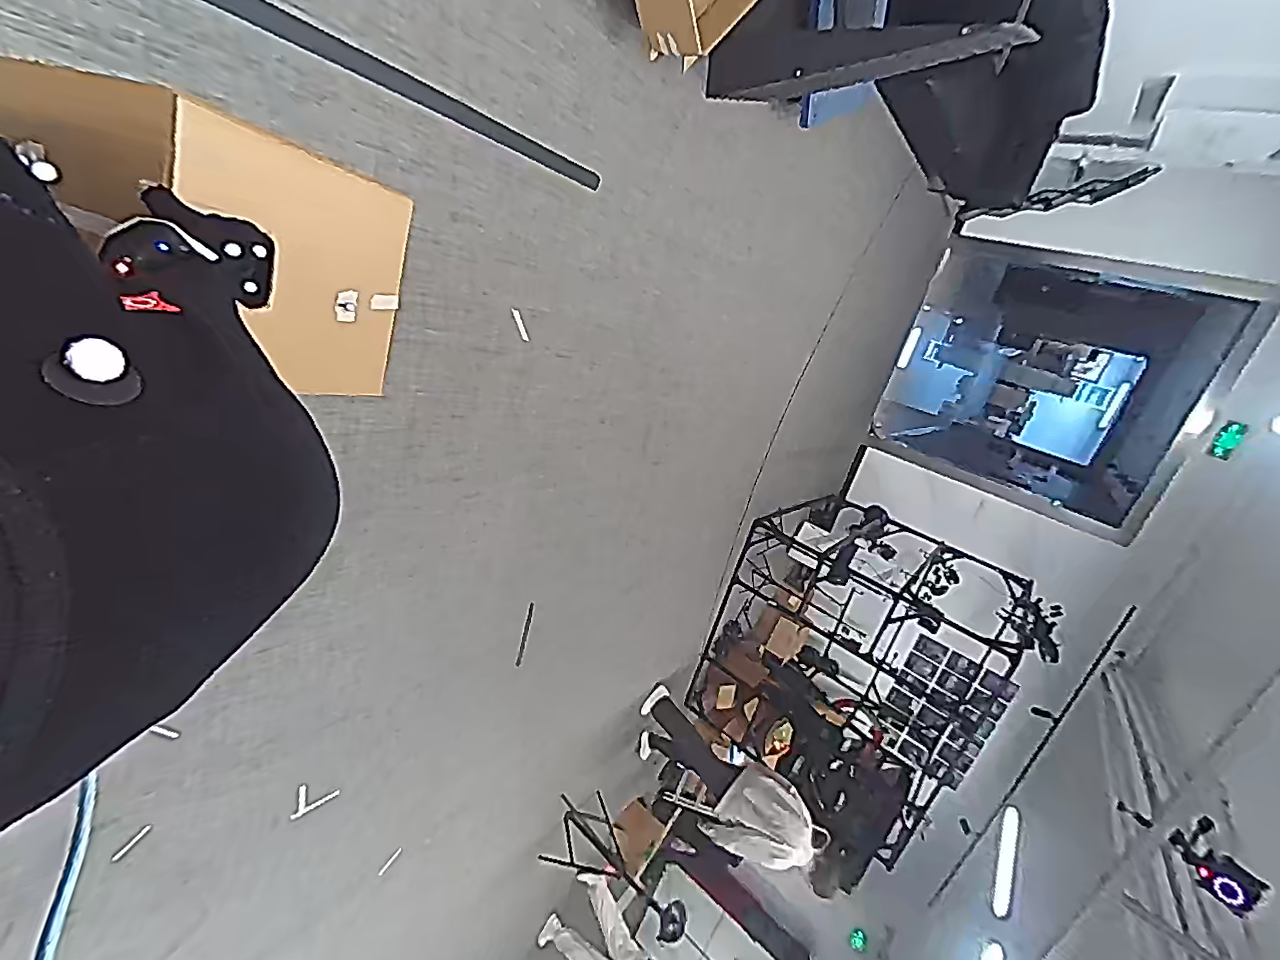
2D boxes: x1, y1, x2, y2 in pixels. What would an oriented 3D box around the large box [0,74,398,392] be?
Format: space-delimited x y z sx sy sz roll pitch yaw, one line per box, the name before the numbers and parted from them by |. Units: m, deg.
large box | -0.629 -0.327 0.786 0.320 0.408 0.320 -17 126 -65
